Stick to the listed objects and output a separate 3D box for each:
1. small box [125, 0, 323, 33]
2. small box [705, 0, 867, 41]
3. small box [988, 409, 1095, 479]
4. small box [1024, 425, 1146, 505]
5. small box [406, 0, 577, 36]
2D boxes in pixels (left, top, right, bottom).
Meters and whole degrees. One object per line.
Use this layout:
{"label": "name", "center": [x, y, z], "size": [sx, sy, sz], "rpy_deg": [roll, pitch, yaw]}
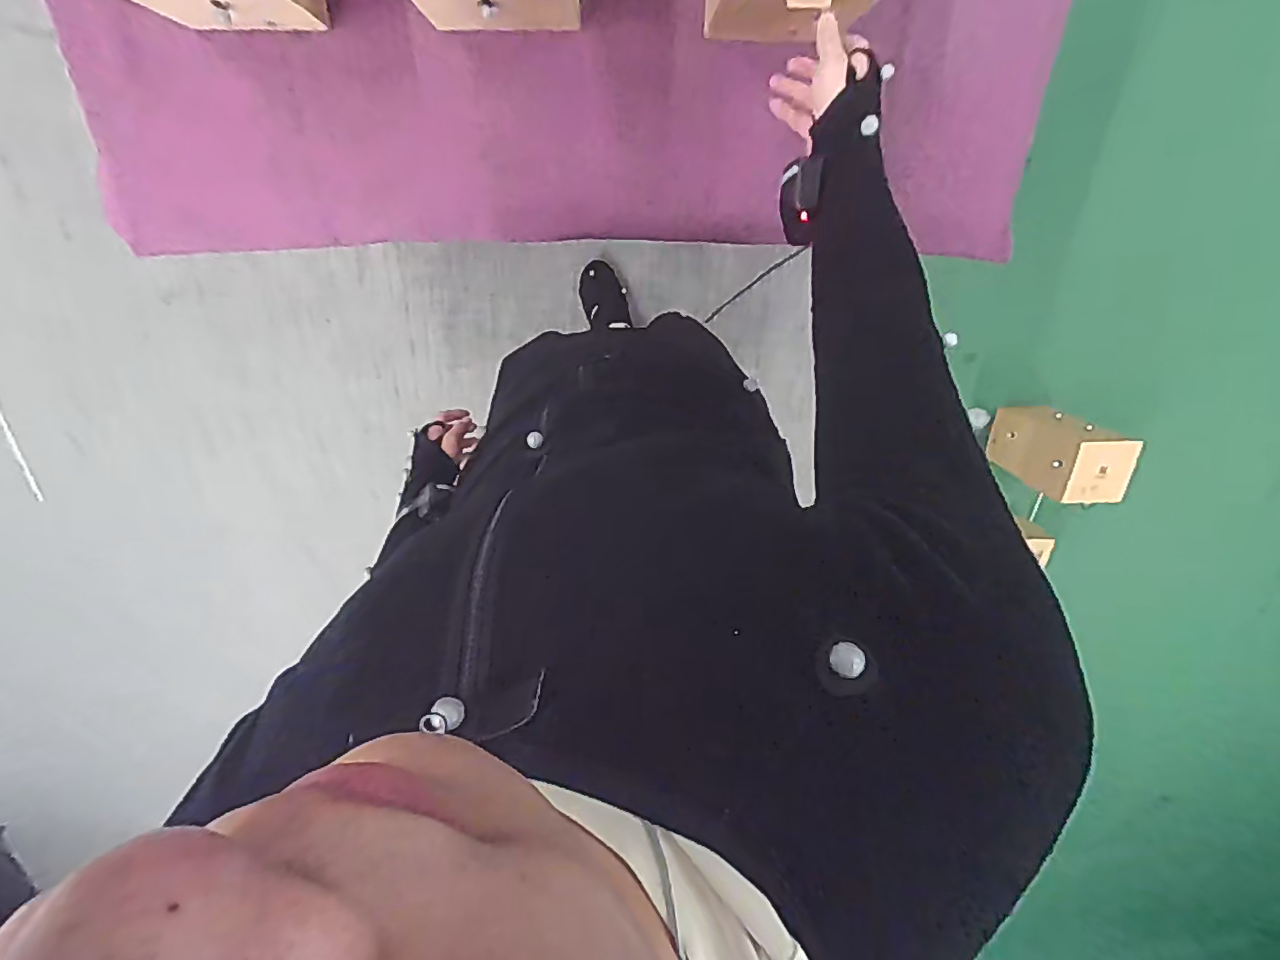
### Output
{"label": "small box", "center": [-0.449, -0.574, 0.536], "size": [0.168, 0.176, 0.179], "rpy_deg": [-2, 115, -2]}
{"label": "small box", "center": [0.163, -0.585, 0.559], "size": [0.168, 0.176, 0.179], "rpy_deg": [-1, 114, -2]}
{"label": "small box", "center": [1.182, -0.109, 1.609], "size": [0.179, 0.176, 0.168], "rpy_deg": [-1, 113, -3]}
{"label": "small box", "center": [1.184, -0.045, 1.457], "size": [0.168, 0.176, 0.179], "rpy_deg": [-1, 114, -2]}
{"label": "small box", "center": [-0.157, -0.579, 0.548], "size": [0.179, 0.176, 0.168], "rpy_deg": [-2, 115, -1]}
